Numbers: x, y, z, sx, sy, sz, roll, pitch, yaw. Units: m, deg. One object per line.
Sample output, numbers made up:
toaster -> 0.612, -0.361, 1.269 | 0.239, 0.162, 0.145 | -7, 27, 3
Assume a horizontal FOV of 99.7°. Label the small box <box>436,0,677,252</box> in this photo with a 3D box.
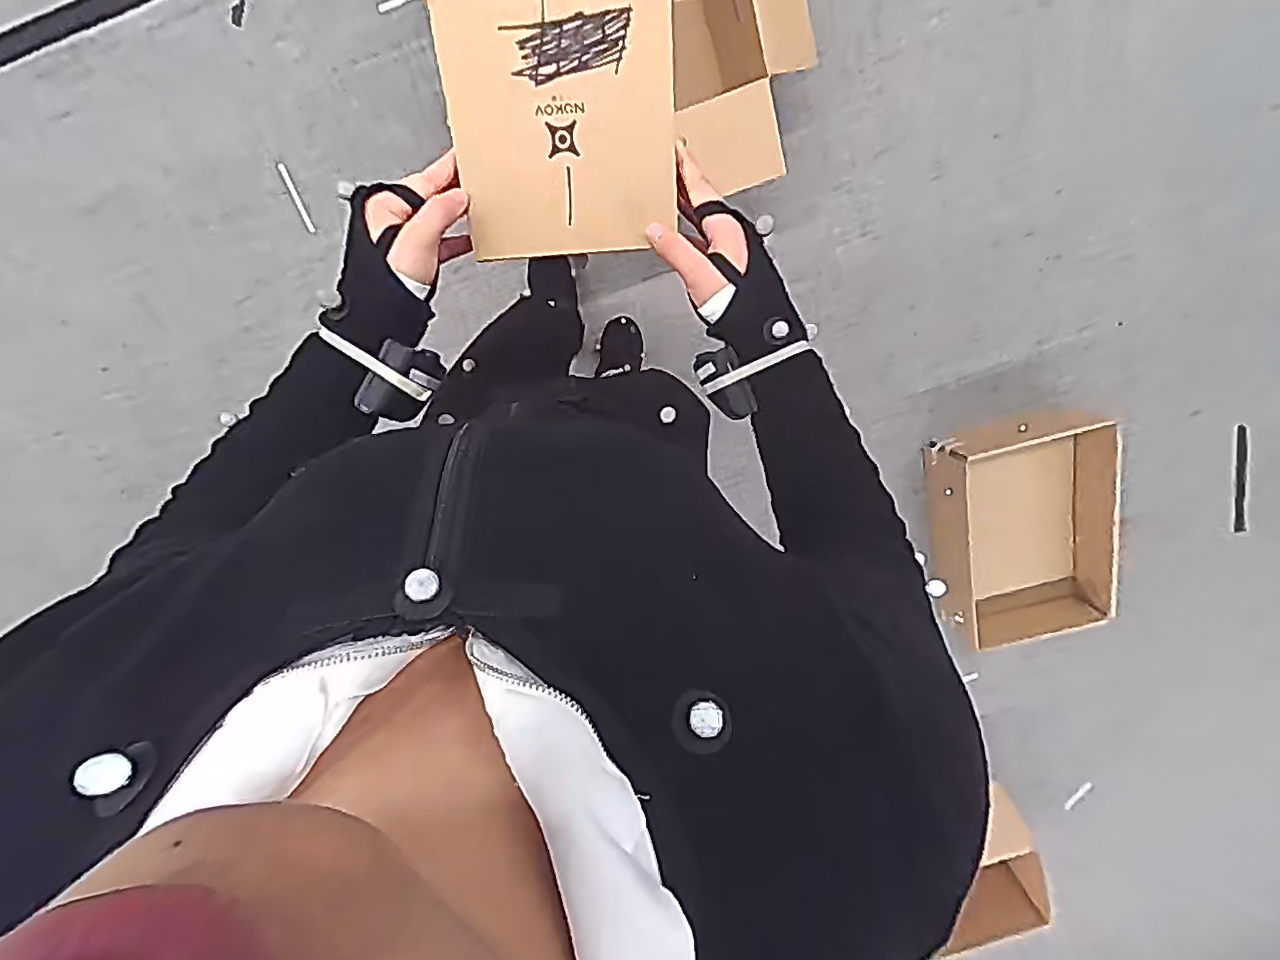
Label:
small box -> -0.058, -0.301, 0.476 | 0.168, 0.176, 0.179 | -4, 116, 0
